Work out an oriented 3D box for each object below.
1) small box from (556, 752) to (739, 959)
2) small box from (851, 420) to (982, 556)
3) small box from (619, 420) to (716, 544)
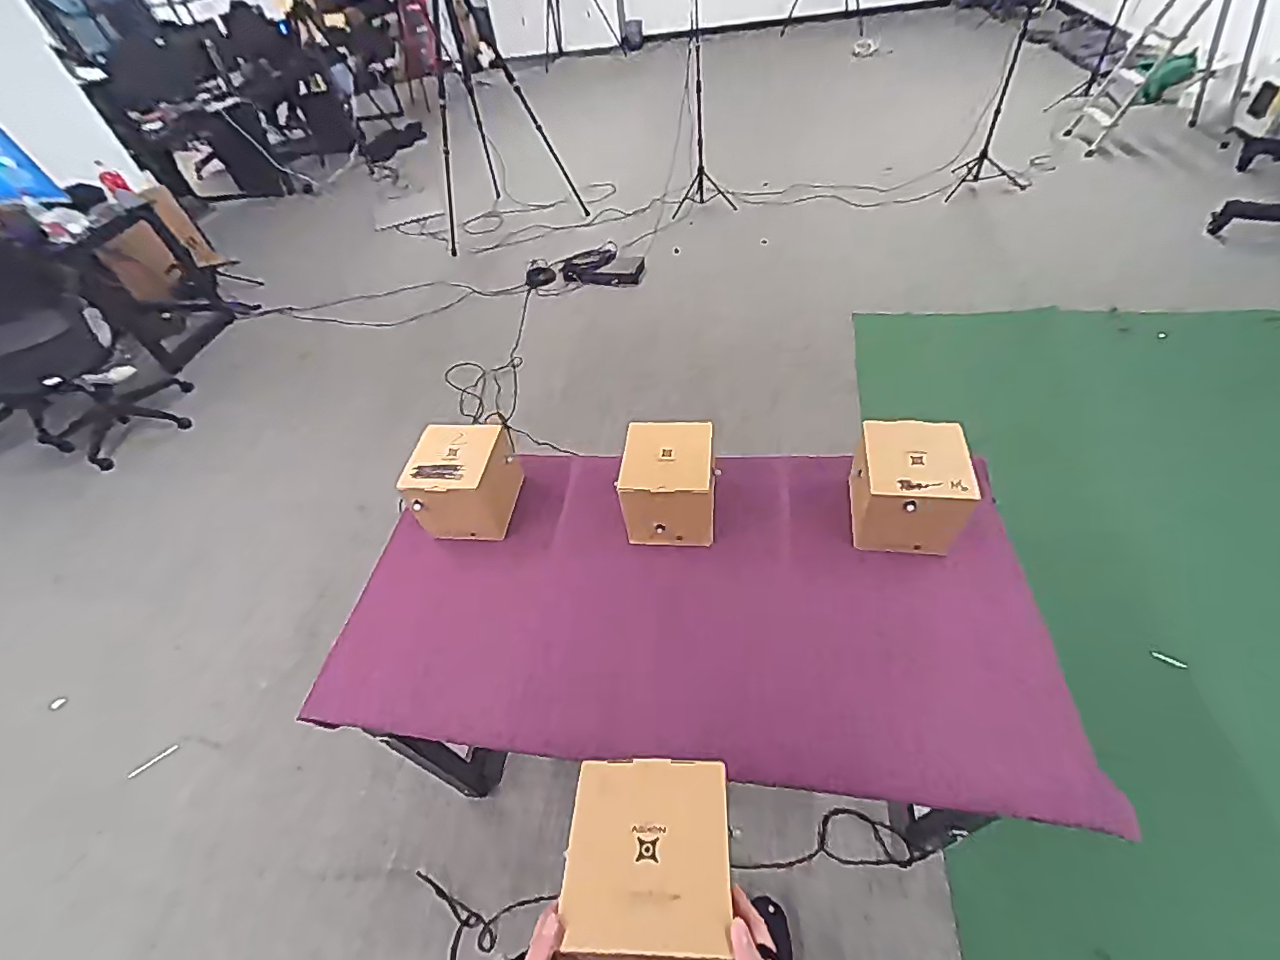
[{"bbox_3d":[0.018,0.426,0.587,0.168,0.176,0.179,-2,35,7],"label":"small box"},{"bbox_3d":[0.483,0.014,0.975,0.168,0.176,0.179,3,50,13],"label":"small box"},{"bbox_3d":[0.060,0.003,1.050,0.168,0.176,0.179,1,50,9],"label":"small box"}]
